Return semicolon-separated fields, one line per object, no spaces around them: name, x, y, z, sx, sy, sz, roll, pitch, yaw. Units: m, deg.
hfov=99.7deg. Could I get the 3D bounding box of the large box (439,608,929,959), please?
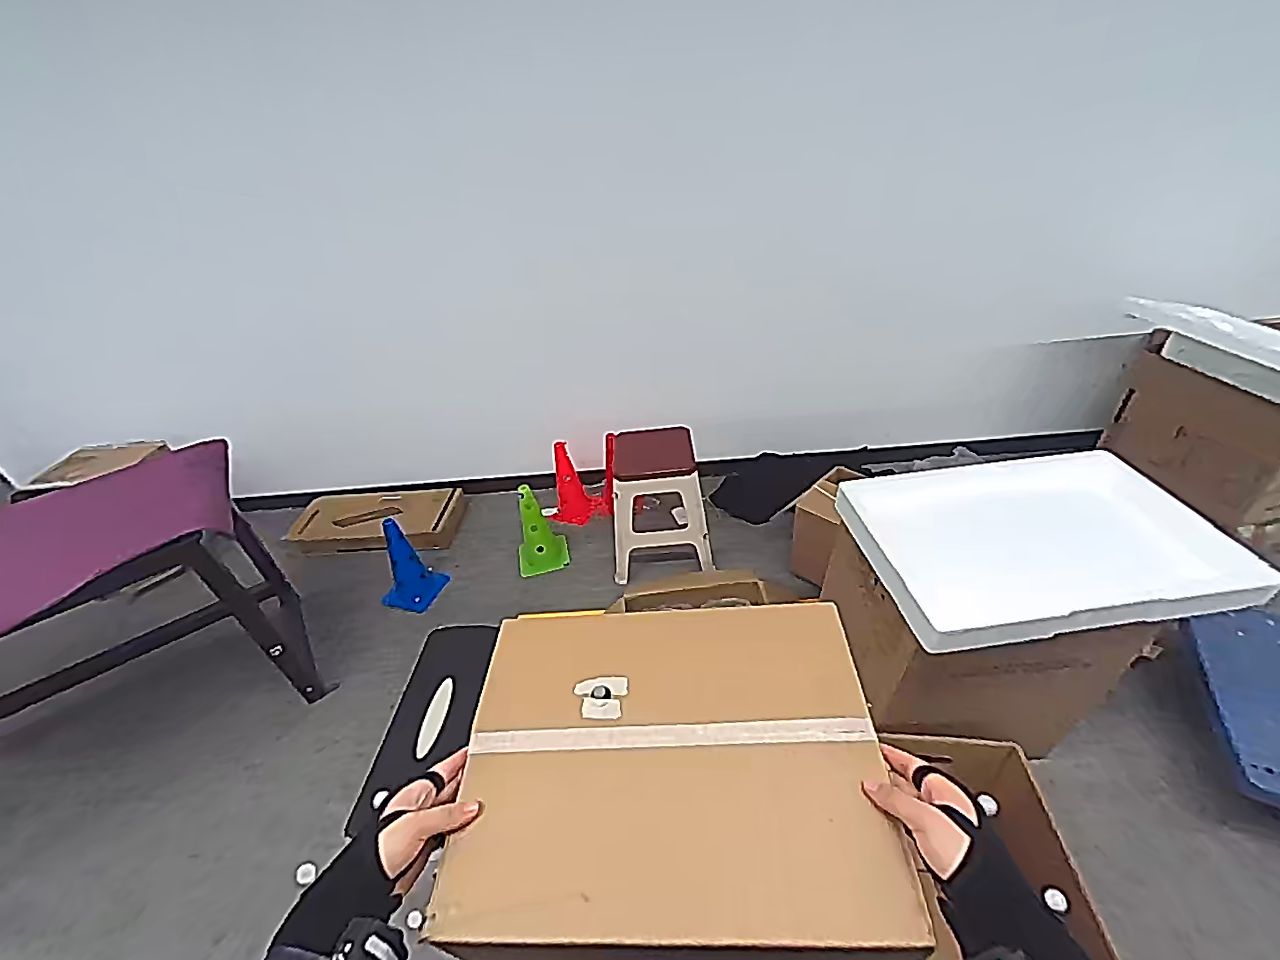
large box;0.050;0.384;0.639;0.408;0.320;0.320;-6;38;6
